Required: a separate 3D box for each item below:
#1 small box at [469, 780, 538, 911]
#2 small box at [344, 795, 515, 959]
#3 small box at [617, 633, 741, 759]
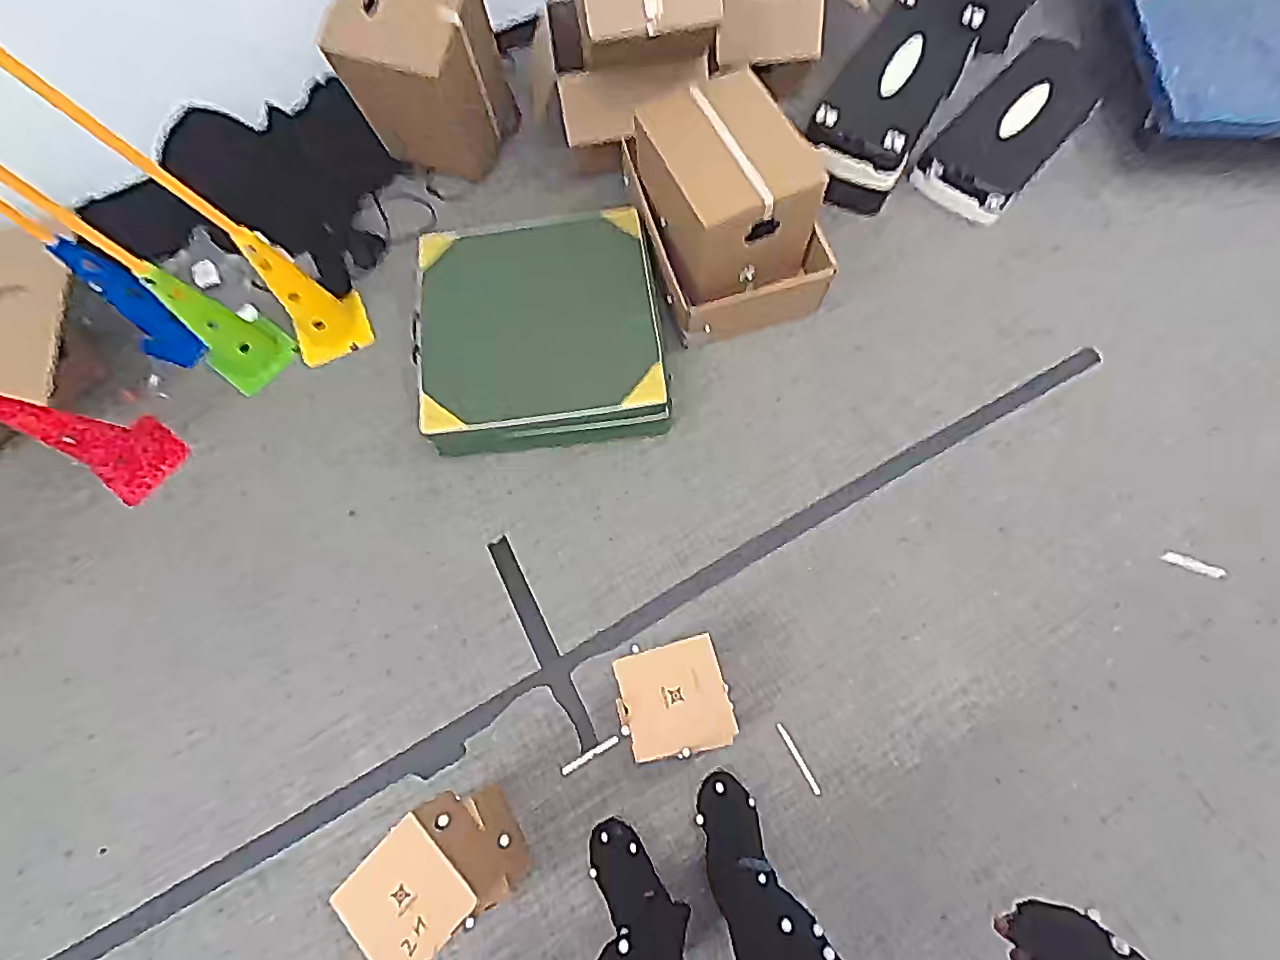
[{"bbox_3d":[-0.320,0.724,1.056,0.168,0.176,0.179,-30,71,-7],"label":"small box"},{"bbox_3d":[-0.340,0.663,0.904,0.168,0.176,0.179,-43,76,-9],"label":"small box"},{"bbox_3d":[0.067,0.385,0.976,0.179,0.176,0.168,-15,71,-3],"label":"small box"}]
